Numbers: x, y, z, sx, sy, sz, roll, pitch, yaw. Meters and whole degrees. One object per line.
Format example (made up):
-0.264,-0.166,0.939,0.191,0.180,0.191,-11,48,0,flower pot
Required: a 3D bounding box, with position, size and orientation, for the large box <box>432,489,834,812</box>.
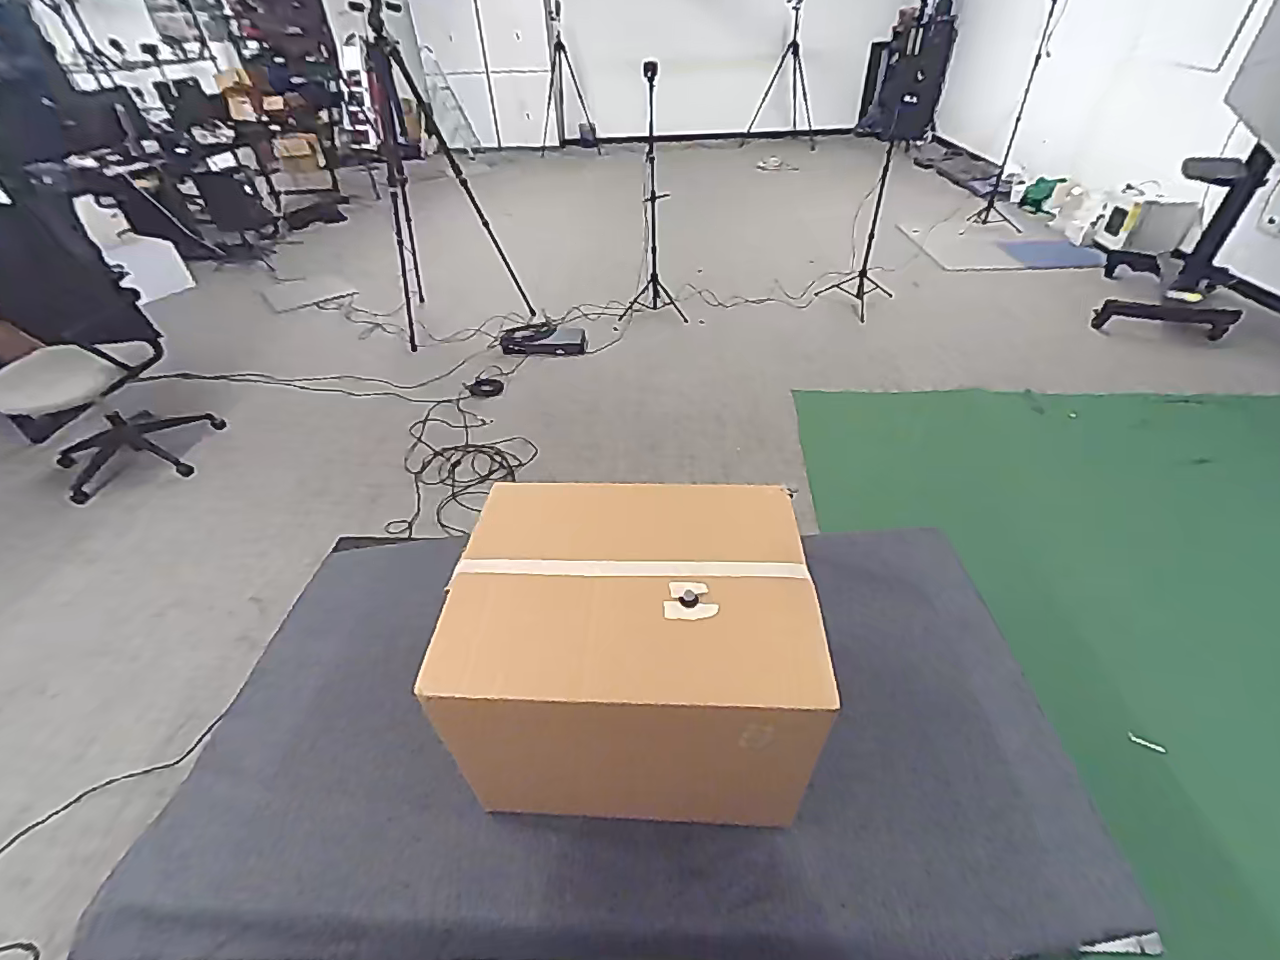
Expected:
-0.002,0.225,0.732,0.408,0.320,0.320,0,41,3,large box
